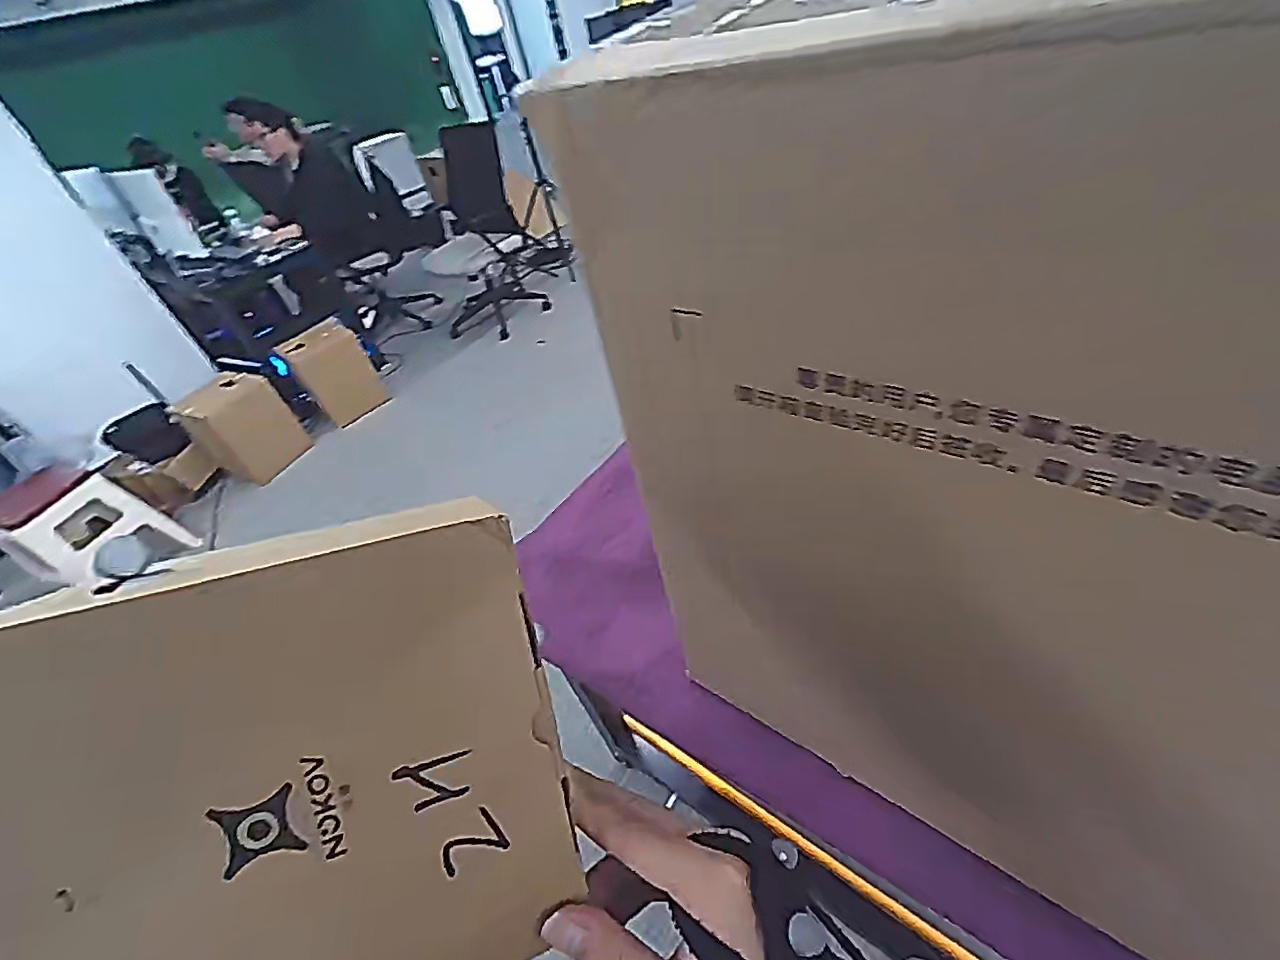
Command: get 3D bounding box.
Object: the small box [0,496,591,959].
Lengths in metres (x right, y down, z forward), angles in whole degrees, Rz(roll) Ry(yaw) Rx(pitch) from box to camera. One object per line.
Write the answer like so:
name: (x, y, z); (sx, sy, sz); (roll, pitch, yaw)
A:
small box: (-0.137, 0.106, 0.249); (0.179, 0.168, 0.176); (-12, 6, -18)
